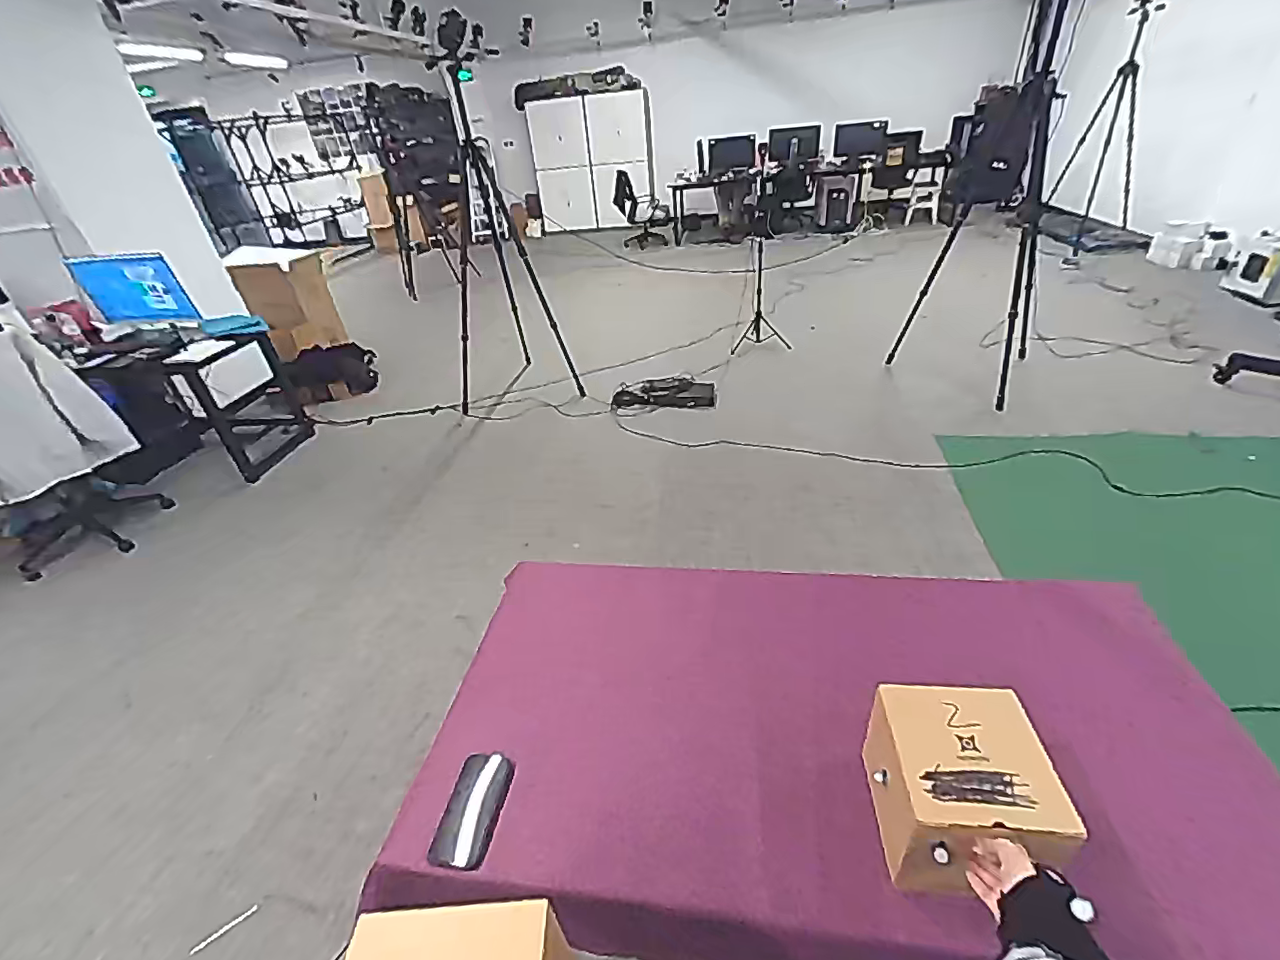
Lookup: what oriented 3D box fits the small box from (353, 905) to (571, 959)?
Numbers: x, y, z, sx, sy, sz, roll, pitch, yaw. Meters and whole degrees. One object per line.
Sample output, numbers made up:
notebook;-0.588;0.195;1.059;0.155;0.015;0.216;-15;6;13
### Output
small box;-0.143;0.479;0.429;0.168;0.176;0.179;-5;33;2
